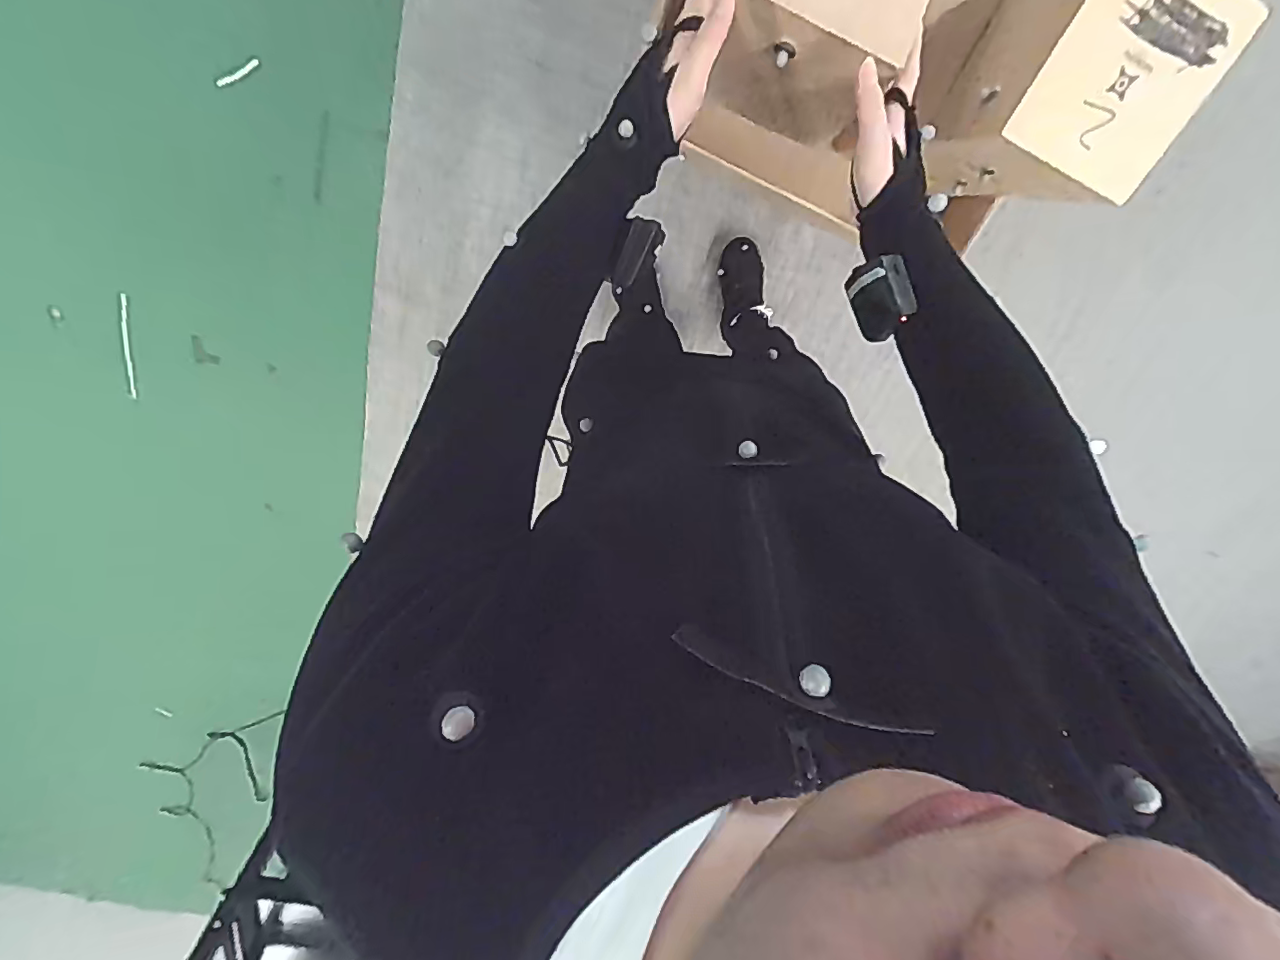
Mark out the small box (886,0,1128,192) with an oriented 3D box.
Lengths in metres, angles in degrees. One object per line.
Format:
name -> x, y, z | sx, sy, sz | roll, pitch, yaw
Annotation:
small box -> 0.458, -0.508, 0.717 | 0.168, 0.176, 0.179 | 20, 116, -12

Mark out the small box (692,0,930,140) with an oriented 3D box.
small box -> 0.165, -0.471, 0.521 | 0.179, 0.176, 0.168 | 17, 96, -10
